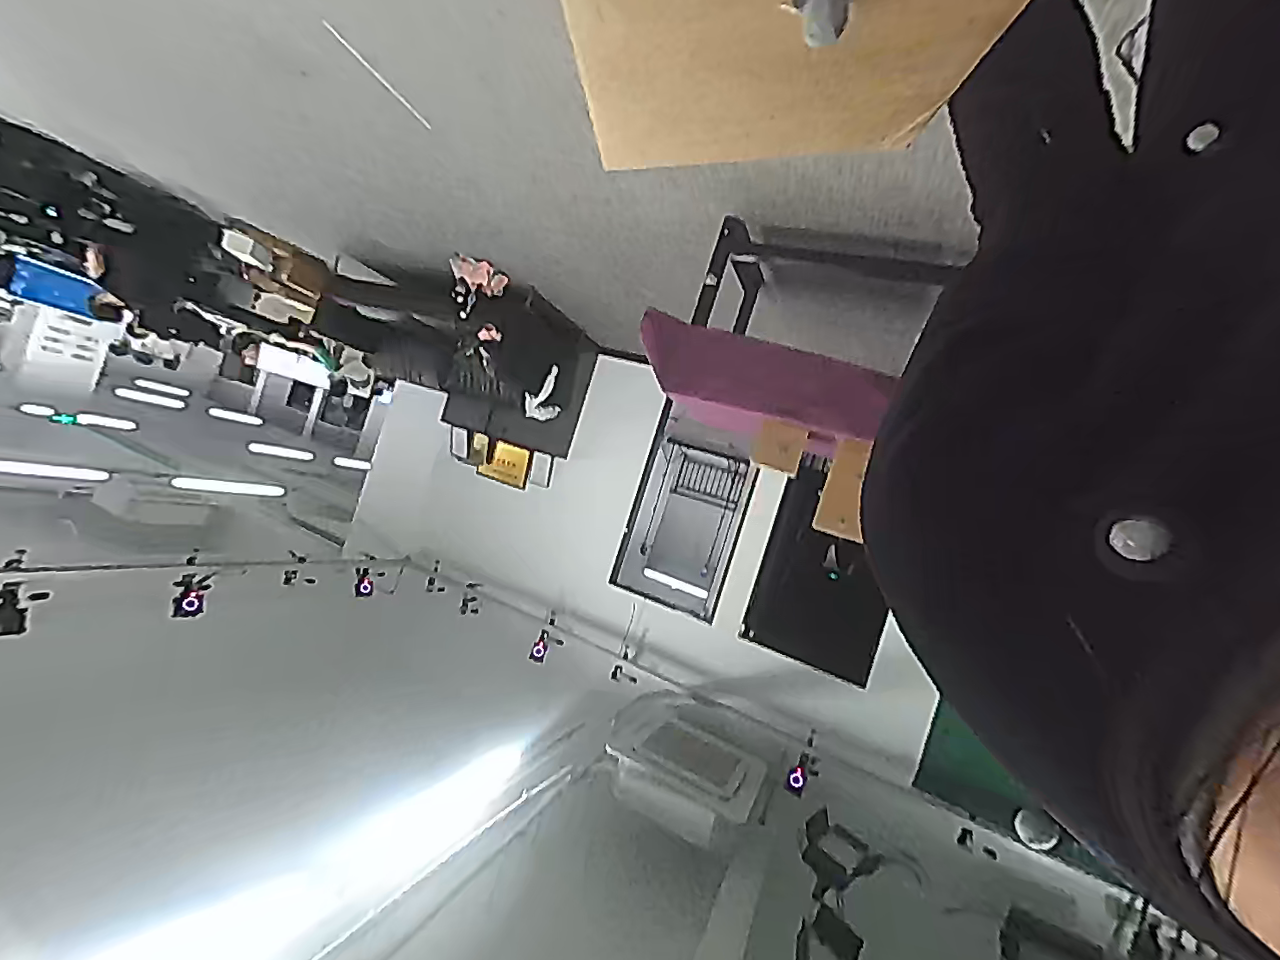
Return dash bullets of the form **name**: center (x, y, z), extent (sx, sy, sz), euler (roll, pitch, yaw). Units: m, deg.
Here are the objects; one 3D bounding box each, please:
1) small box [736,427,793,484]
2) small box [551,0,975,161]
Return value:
- **small box**: center (0.477, -0.094, 2.071), extent (0.179, 0.176, 0.168), euler (17, 178, 13)
- **small box**: center (0.047, -0.255, 0.200), extent (0.168, 0.179, 0.176), euler (-2, -177, 3)
